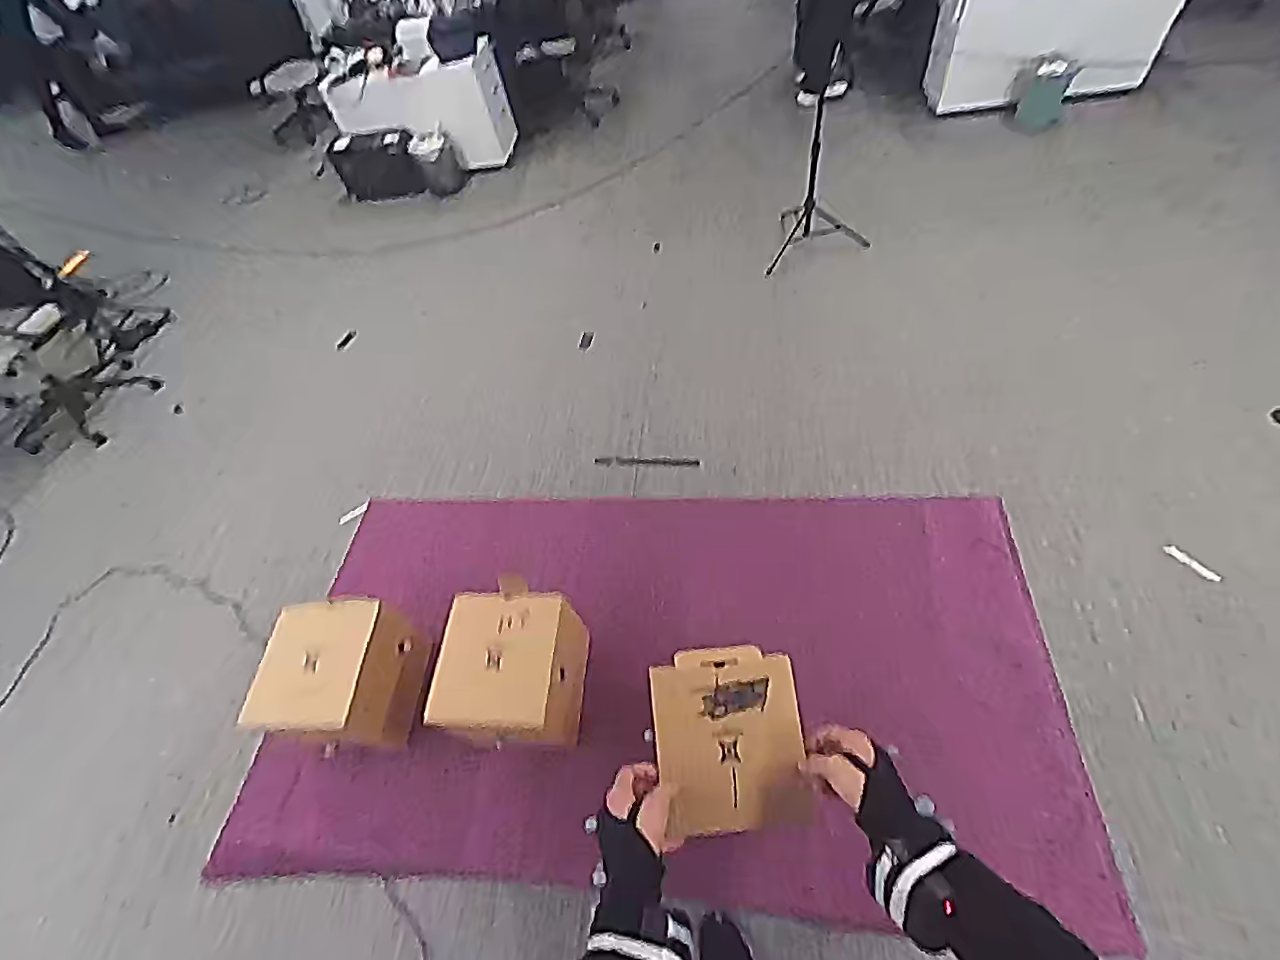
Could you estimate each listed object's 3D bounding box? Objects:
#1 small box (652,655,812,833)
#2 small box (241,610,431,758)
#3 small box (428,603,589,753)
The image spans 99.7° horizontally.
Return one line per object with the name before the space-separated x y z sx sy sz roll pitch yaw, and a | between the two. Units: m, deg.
small box | 0.103 0.332 0.694 0.168 0.176 0.179 -6 66 1
small box | -0.450 0.318 0.838 0.168 0.176 0.179 -4 54 9
small box | -0.179 0.296 0.802 0.168 0.176 0.179 -2 54 9
